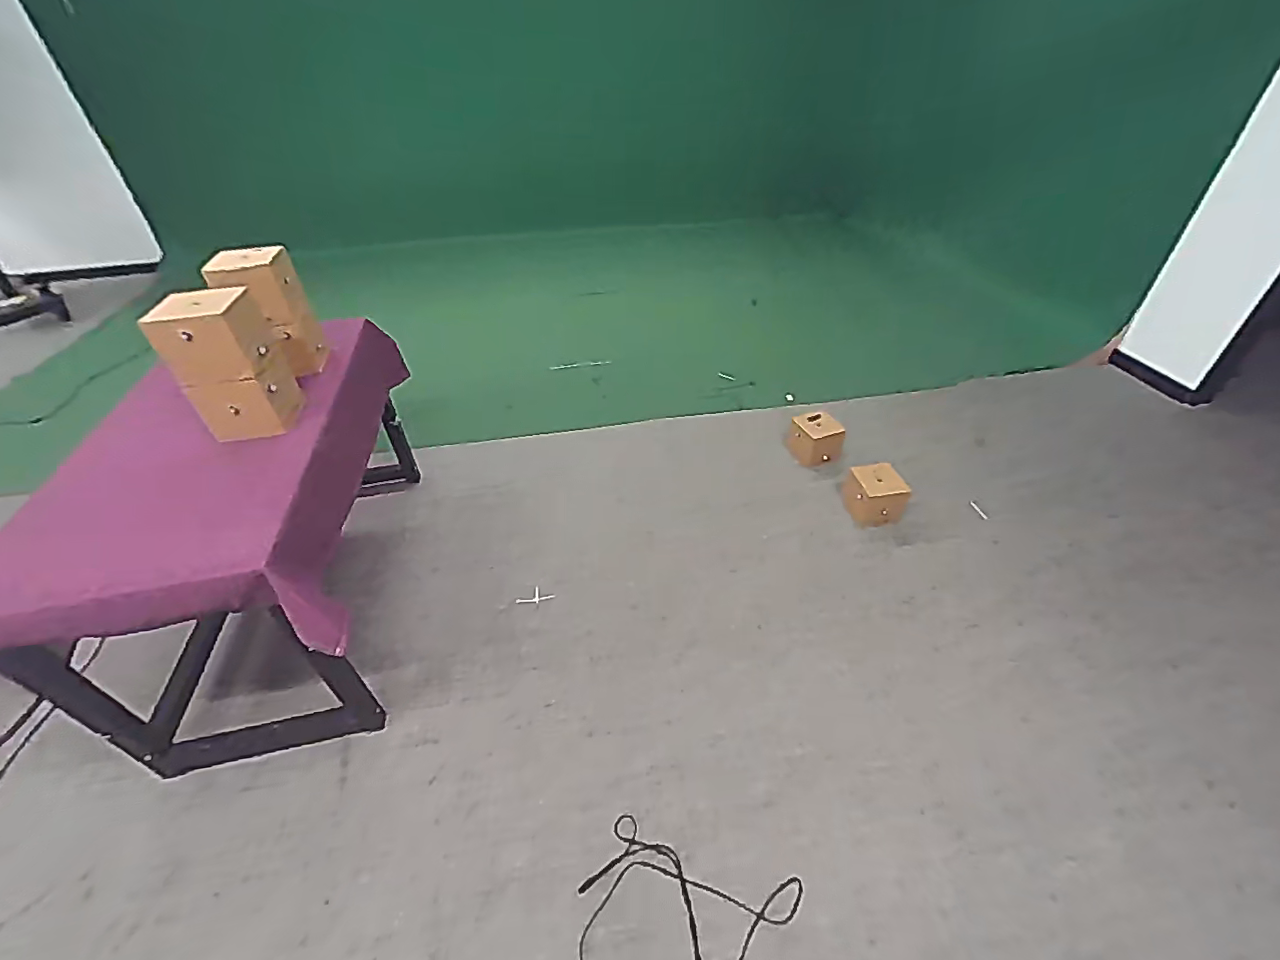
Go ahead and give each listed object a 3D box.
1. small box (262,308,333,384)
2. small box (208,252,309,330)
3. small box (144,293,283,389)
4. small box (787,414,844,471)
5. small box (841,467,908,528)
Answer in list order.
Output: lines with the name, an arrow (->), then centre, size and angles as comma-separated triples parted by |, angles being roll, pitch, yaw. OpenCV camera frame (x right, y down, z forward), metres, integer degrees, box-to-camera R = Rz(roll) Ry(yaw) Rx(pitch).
small box -> -1.080, -0.409, 1.659 | 0.179, 0.176, 0.168 | -10, 40, -10
small box -> -1.083, -0.537, 1.554 | 0.168, 0.176, 0.179 | -10, 41, -10
small box -> -1.016, -0.334, 1.307 | 0.179, 0.176, 0.168 | -8, 41, -6
small box -> 0.771, -0.164, 2.398 | 0.168, 0.176, 0.179 | -15, 42, -15
small box -> 0.908, 0.073, 2.109 | 0.168, 0.176, 0.179 | -6, 40, -6
